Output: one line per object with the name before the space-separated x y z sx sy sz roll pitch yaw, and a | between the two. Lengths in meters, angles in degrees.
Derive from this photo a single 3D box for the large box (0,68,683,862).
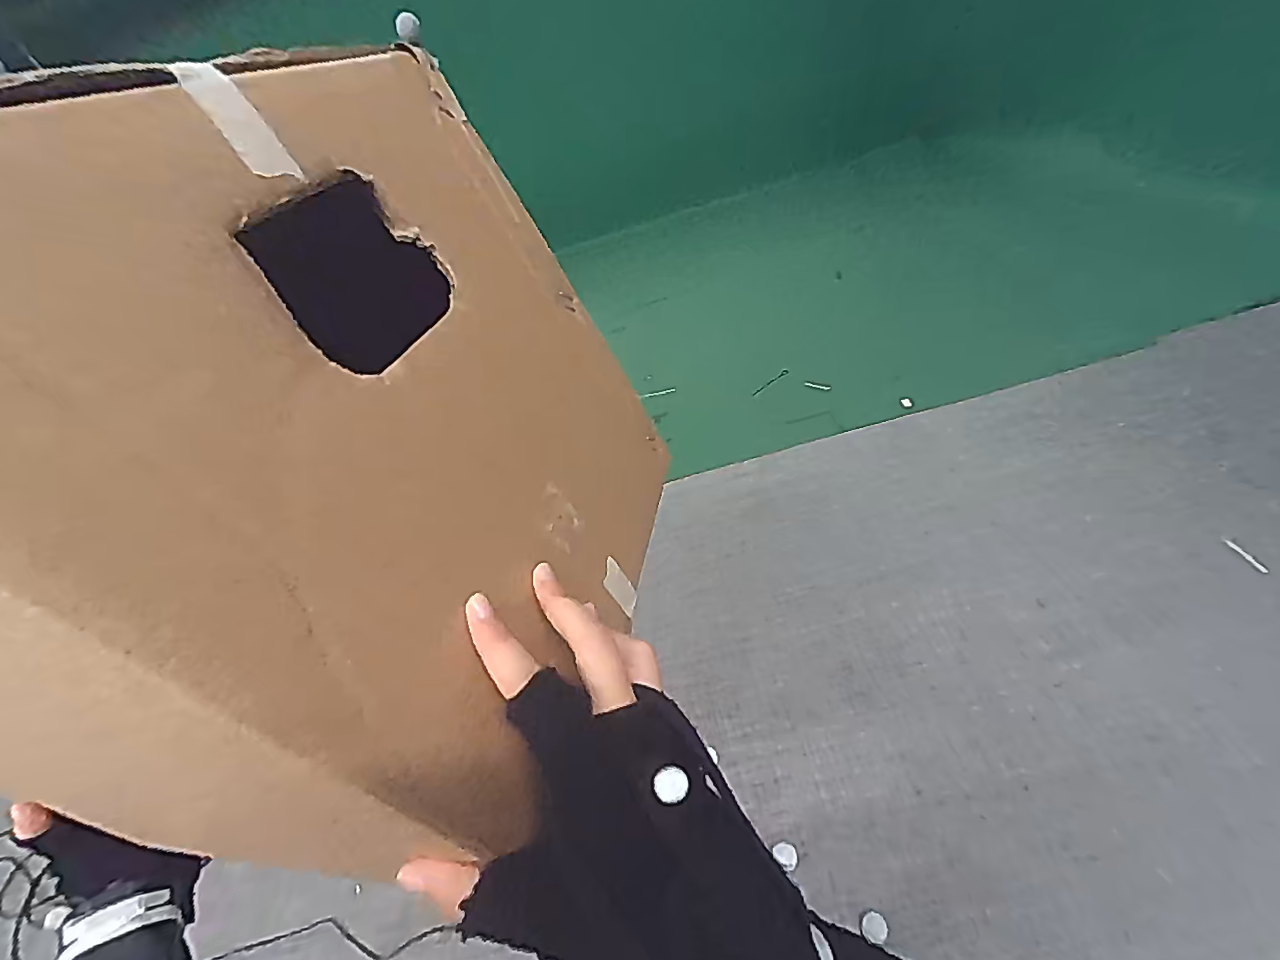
large box | -0.229 0.017 0.361 0.408 0.320 0.320 -15 36 26
